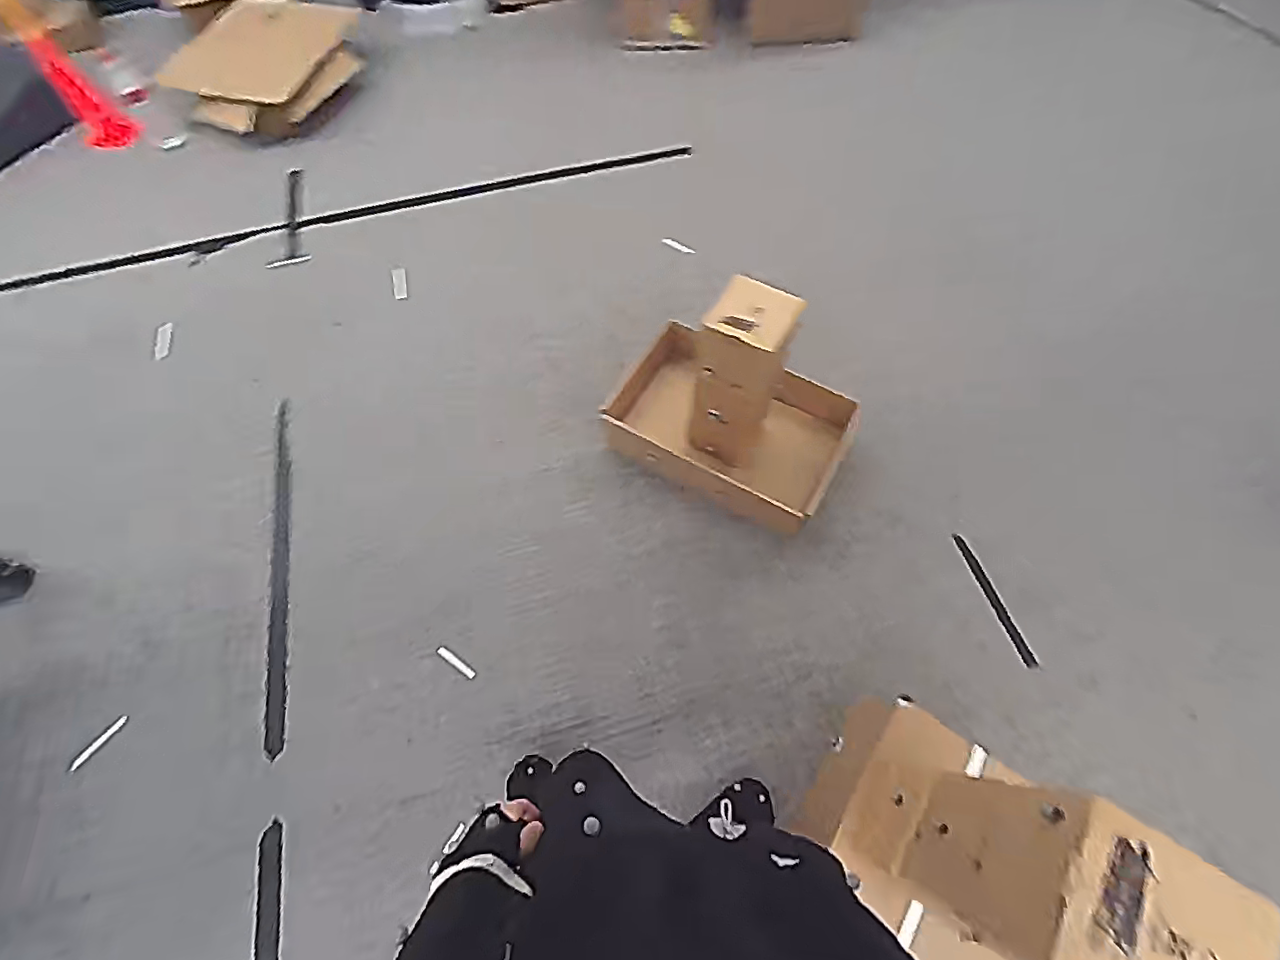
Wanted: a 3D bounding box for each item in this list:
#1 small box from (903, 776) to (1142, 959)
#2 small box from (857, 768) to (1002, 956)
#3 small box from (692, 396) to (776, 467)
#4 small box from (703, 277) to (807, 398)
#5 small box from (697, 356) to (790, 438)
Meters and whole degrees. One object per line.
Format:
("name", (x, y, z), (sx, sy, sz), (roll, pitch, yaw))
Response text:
("small box", (0.486, 0.521, 0.715), (0.179, 0.176, 0.168), (33, 70, 16))
("small box", (0.479, 0.590, 0.864), (0.179, 0.176, 0.168), (33, 69, 15))
("small box", (0.257, -0.170, 1.527), (0.168, 0.176, 0.179), (31, 69, 16))
("small box", (0.254, -0.320, 1.237), (0.168, 0.176, 0.179), (29, 66, 15))
("small box", (0.256, -0.243, 1.382), (0.168, 0.176, 0.179), (30, 69, 16))
